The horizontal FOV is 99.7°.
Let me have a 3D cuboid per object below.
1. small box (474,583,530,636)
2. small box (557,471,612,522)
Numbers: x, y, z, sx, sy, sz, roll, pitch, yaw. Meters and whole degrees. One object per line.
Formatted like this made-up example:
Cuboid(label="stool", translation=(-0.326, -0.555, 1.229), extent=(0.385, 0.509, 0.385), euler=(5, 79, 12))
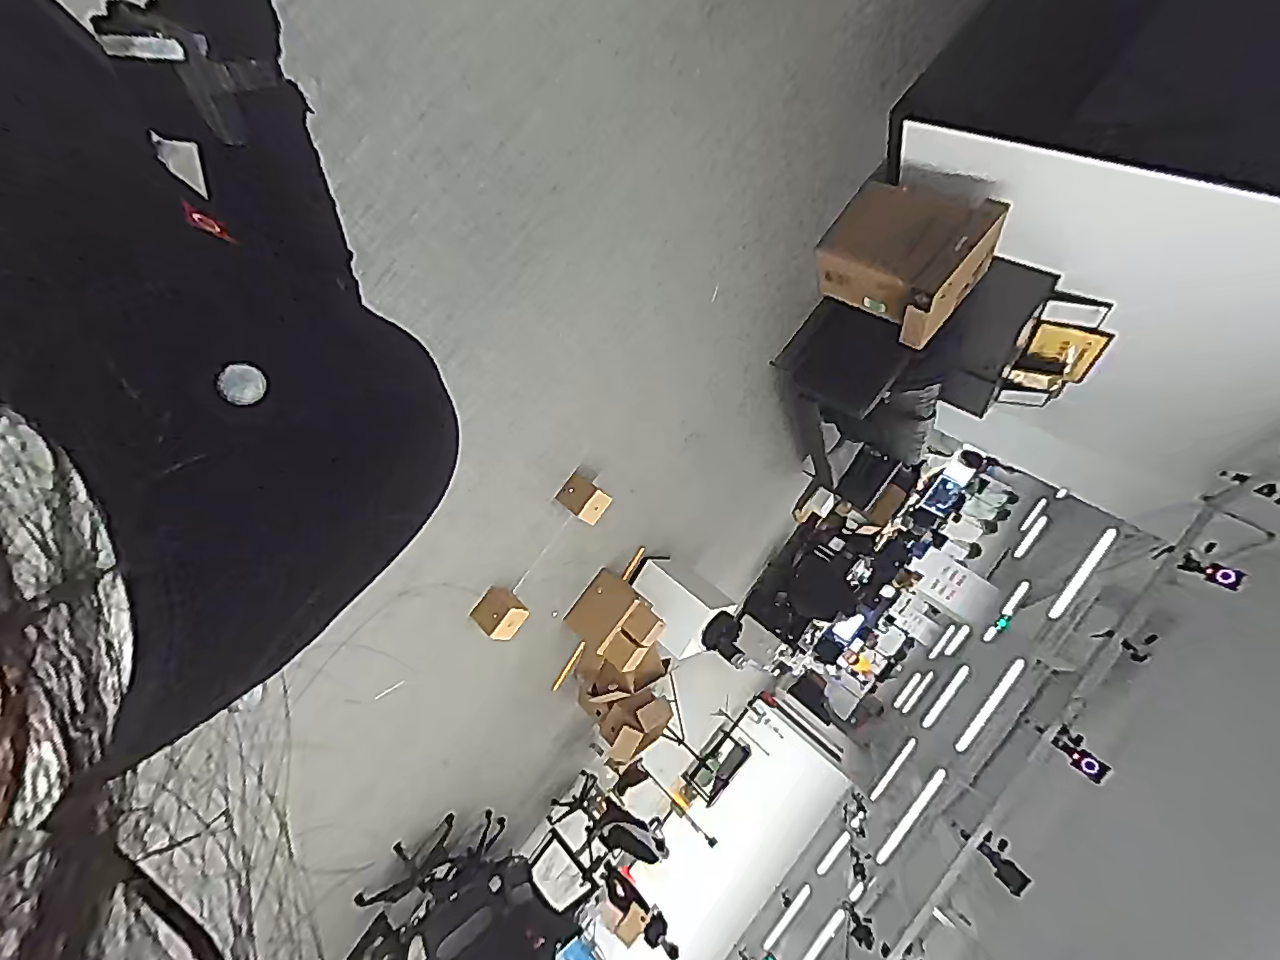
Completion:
Cuboid(label="small box", translation=(-0.679, 0.629, 2.626), extent=(0.179, 0.176, 0.168), euler=(-53, 151, -2))
Cuboid(label="small box", translation=(-0.271, 0.078, 2.631), extent=(0.168, 0.176, 0.179), euler=(-53, 152, -2))
